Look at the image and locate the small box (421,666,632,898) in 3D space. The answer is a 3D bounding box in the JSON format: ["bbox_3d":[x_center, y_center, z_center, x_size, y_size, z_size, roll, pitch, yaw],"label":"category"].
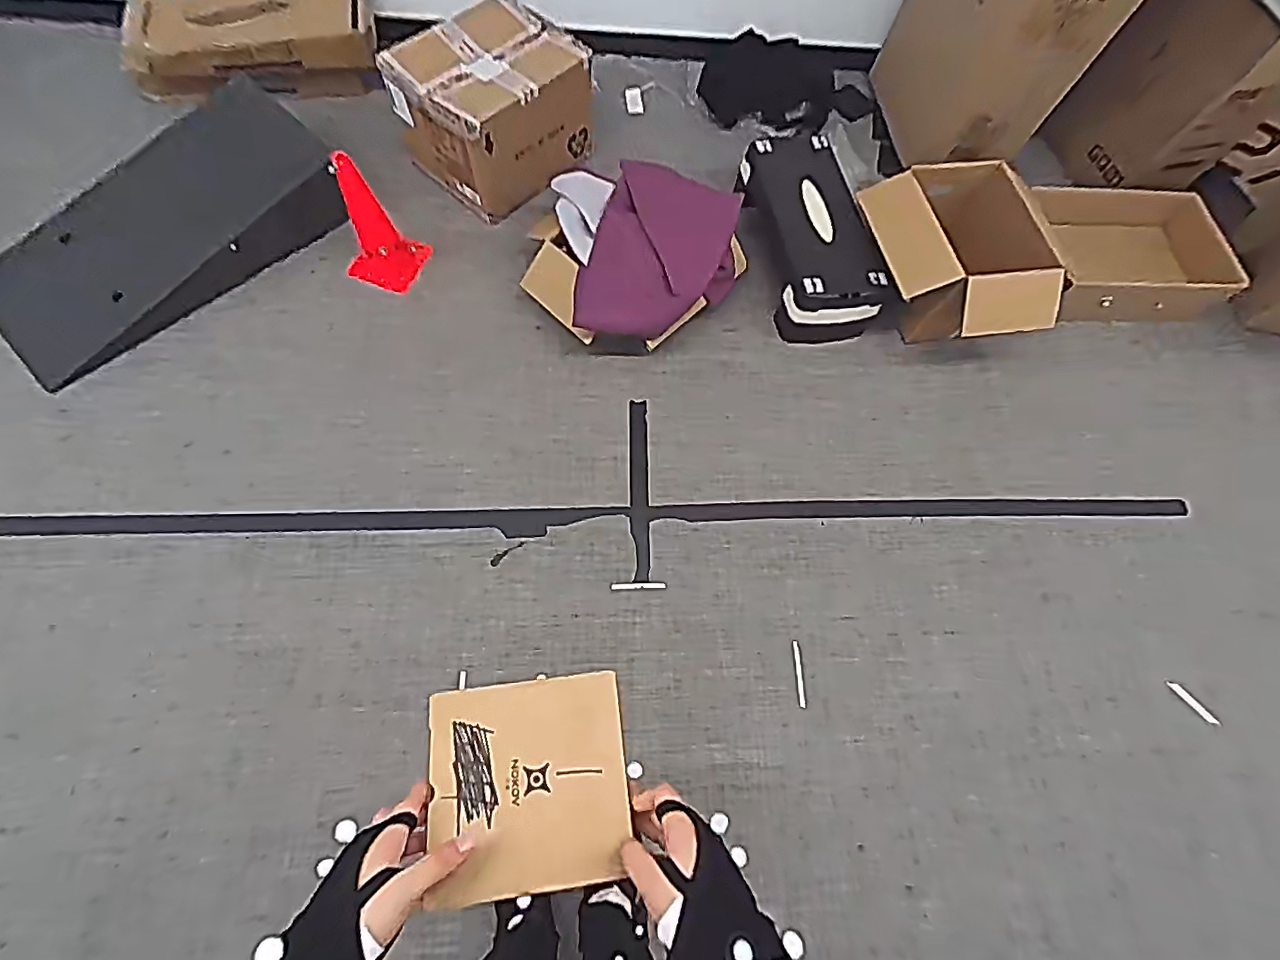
[{"bbox_3d":[-0.104,0.298,0.551,0.179,0.176,0.168,-6,62,-6],"label":"small box"}]
